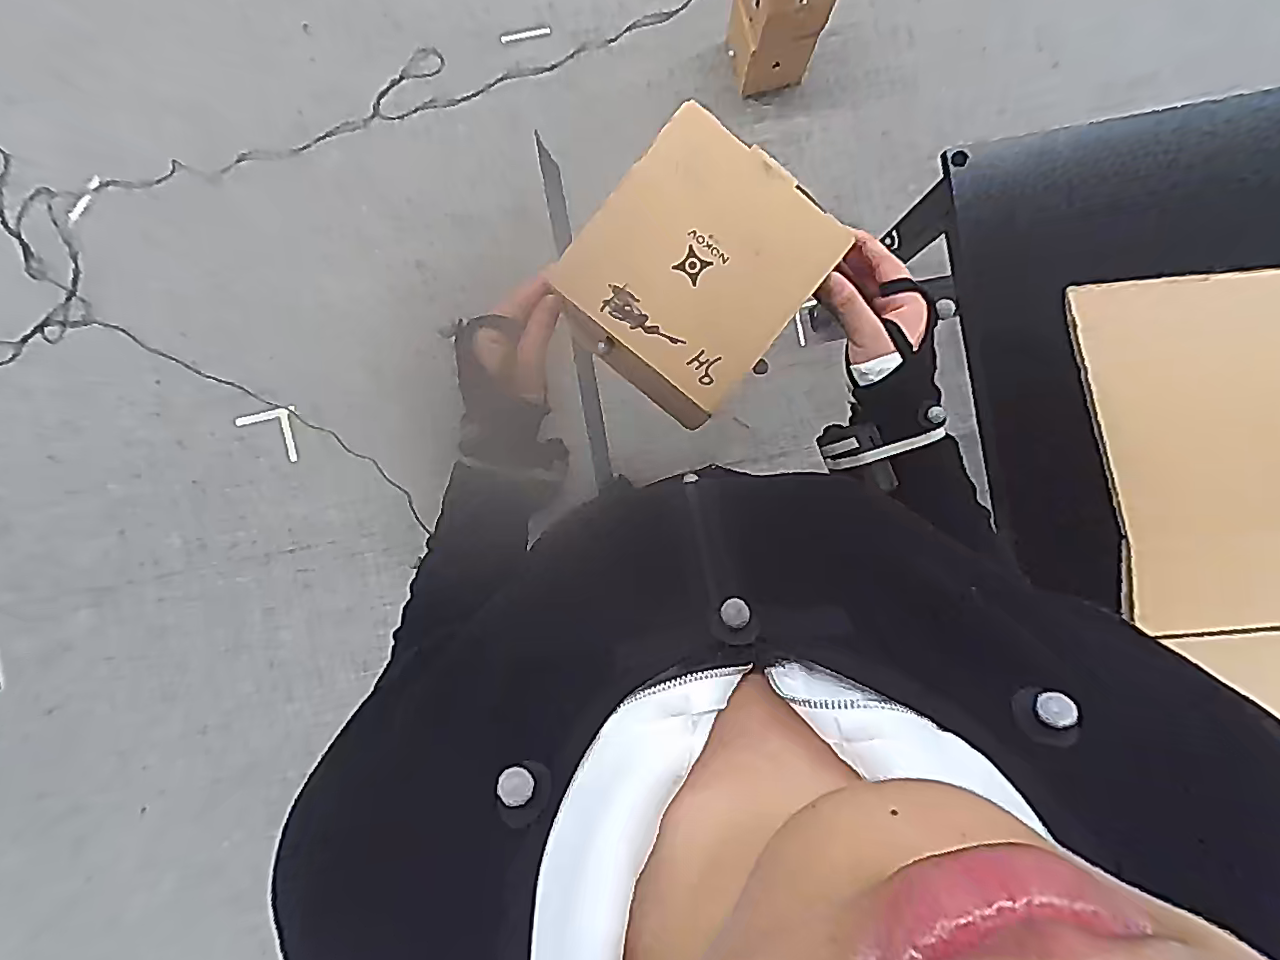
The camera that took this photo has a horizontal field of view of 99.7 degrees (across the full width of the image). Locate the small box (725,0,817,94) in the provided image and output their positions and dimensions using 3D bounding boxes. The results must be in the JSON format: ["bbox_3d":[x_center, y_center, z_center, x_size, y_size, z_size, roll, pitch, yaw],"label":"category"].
[{"bbox_3d":[0.330,-1.146,1.394,0.179,0.176,0.168,-14,91,2],"label":"small box"}]

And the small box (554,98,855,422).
[{"bbox_3d":[0.048,-0.173,0.488,0.168,0.176,0.179,39,90,1],"label":"small box"}]

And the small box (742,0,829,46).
[{"bbox_3d":[0.334,-1.145,1.231,0.179,0.176,0.168,-17,91,0],"label":"small box"}]
